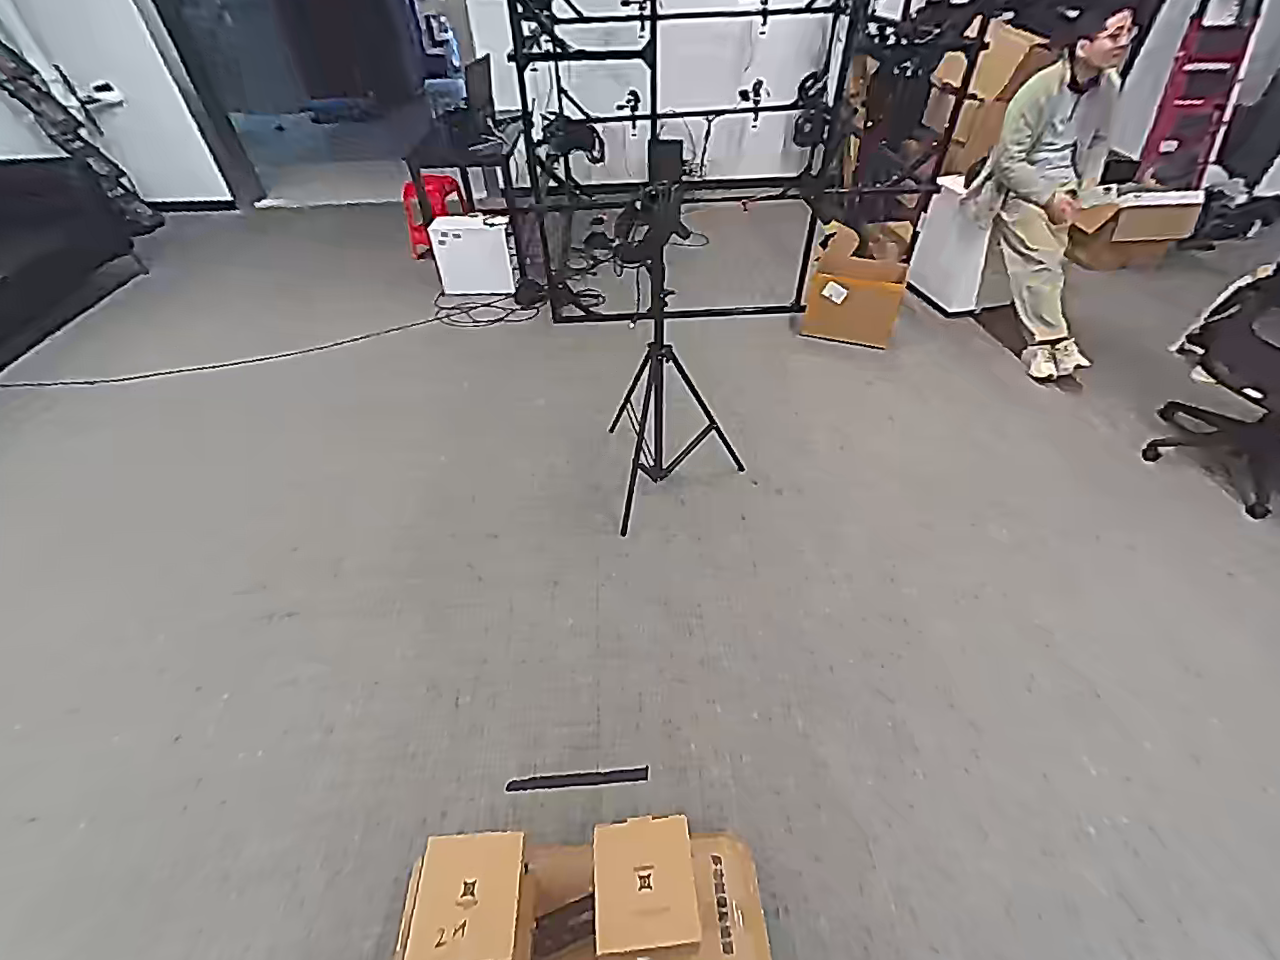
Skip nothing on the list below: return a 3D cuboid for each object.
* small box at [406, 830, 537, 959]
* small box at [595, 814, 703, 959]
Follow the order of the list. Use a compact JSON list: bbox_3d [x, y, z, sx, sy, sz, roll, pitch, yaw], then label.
[{"bbox_3d":[-0.275,0.728,0.929,0.168,0.176,0.179,-2,43,-1],"label":"small box"},{"bbox_3d":[0.011,0.712,0.941,0.168,0.176,0.179,-6,44,-2],"label":"small box"}]
